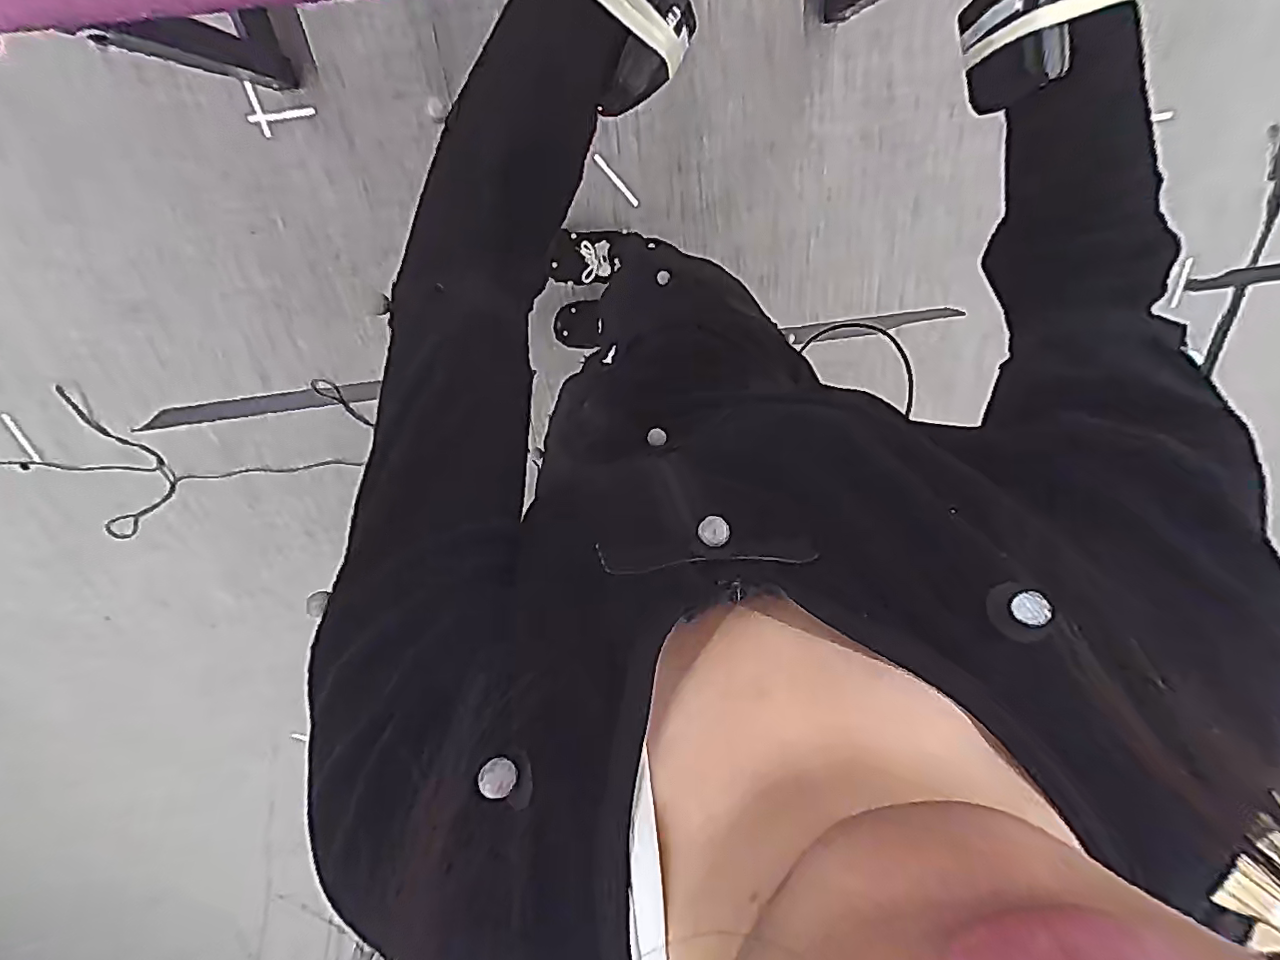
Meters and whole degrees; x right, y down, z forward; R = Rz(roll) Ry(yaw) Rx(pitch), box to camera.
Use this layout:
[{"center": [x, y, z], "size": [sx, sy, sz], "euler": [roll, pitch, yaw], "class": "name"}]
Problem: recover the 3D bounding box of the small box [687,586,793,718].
[{"center": [0.189, 0.336, 1.068], "size": [0.168, 0.176, 0.179], "euler": [-8, 122, -3], "class": "small box"}]
